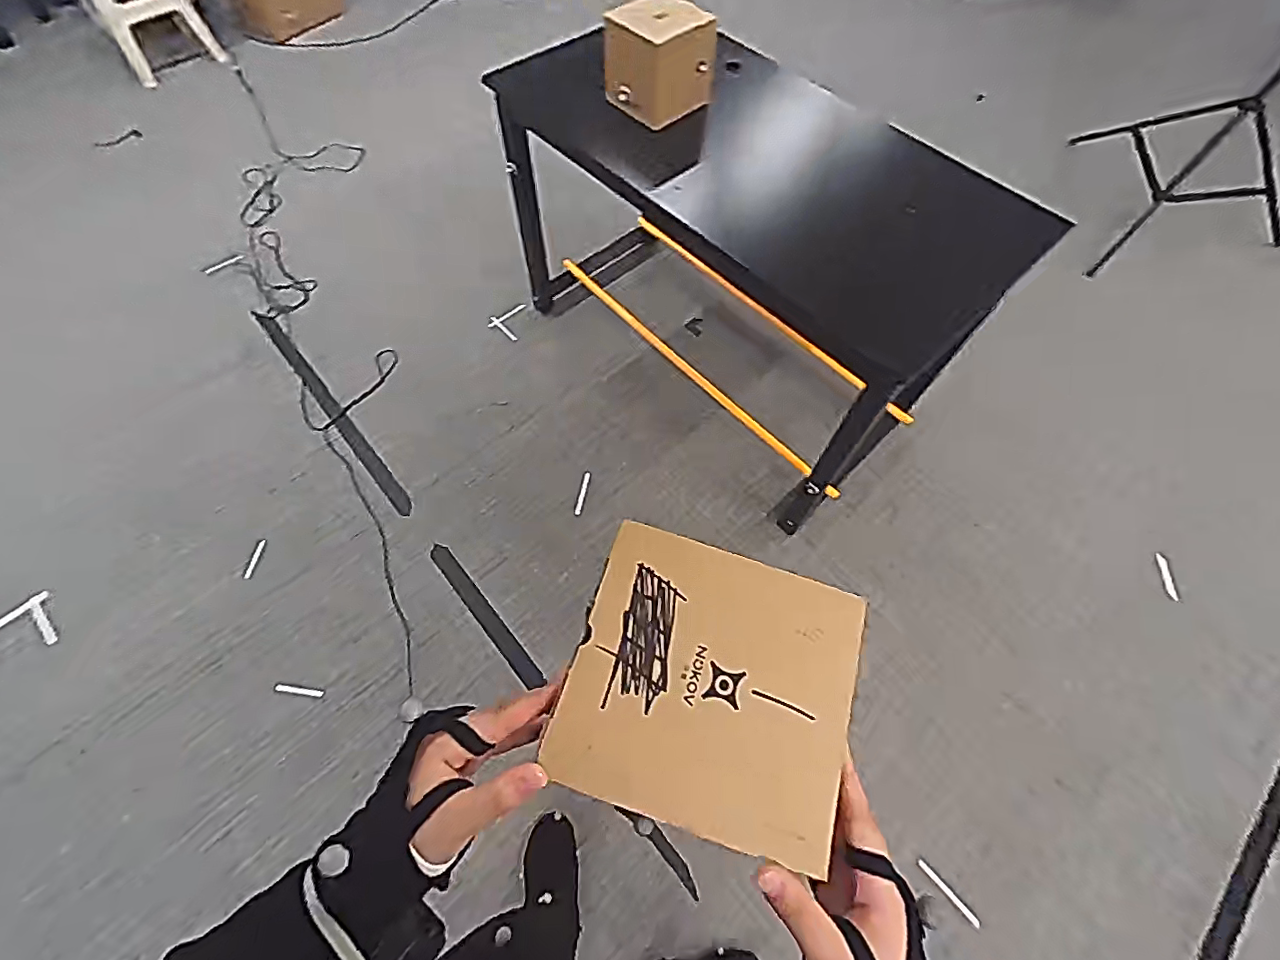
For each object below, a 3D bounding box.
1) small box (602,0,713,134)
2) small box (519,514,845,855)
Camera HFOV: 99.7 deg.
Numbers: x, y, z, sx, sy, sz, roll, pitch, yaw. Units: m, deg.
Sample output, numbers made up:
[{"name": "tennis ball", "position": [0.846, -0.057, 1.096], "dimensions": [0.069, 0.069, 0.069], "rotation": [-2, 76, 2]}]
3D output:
[{"name": "small box", "position": [0.034, -0.908, 1.189], "dimensions": [0.179, 0.176, 0.168], "rotation": [-41, 69, -20]}, {"name": "small box", "position": [0.029, 0.150, 0.412], "dimensions": [0.179, 0.176, 0.168], "rotation": [17, 66, 3]}]
